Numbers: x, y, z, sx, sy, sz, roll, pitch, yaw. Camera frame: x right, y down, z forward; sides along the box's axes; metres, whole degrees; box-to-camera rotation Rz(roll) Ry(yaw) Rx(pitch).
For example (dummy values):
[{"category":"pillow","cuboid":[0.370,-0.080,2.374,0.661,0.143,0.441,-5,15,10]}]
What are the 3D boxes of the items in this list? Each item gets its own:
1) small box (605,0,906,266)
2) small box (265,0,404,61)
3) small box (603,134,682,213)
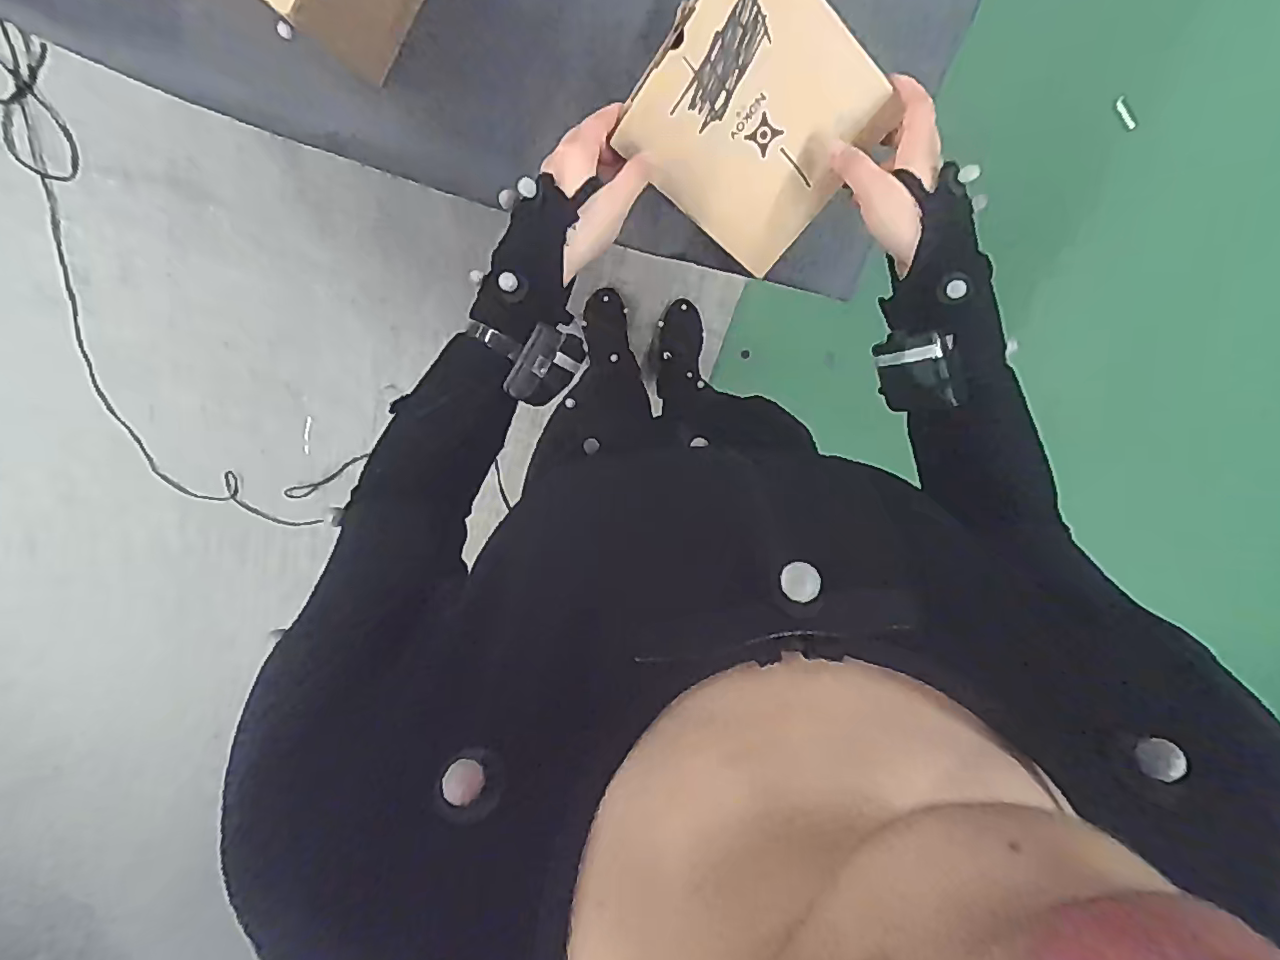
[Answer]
[{"category":"small box","cuboid":[0.085,-0.328,0.480,0.179,0.176,0.168,32,118,-22]},{"category":"small box","cuboid":[-0.287,-0.484,0.432,0.179,0.176,0.168,34,106,-13]},{"category":"small box","cuboid":[0.020,-0.677,1.146,0.168,0.176,0.179,10,114,-6]}]
